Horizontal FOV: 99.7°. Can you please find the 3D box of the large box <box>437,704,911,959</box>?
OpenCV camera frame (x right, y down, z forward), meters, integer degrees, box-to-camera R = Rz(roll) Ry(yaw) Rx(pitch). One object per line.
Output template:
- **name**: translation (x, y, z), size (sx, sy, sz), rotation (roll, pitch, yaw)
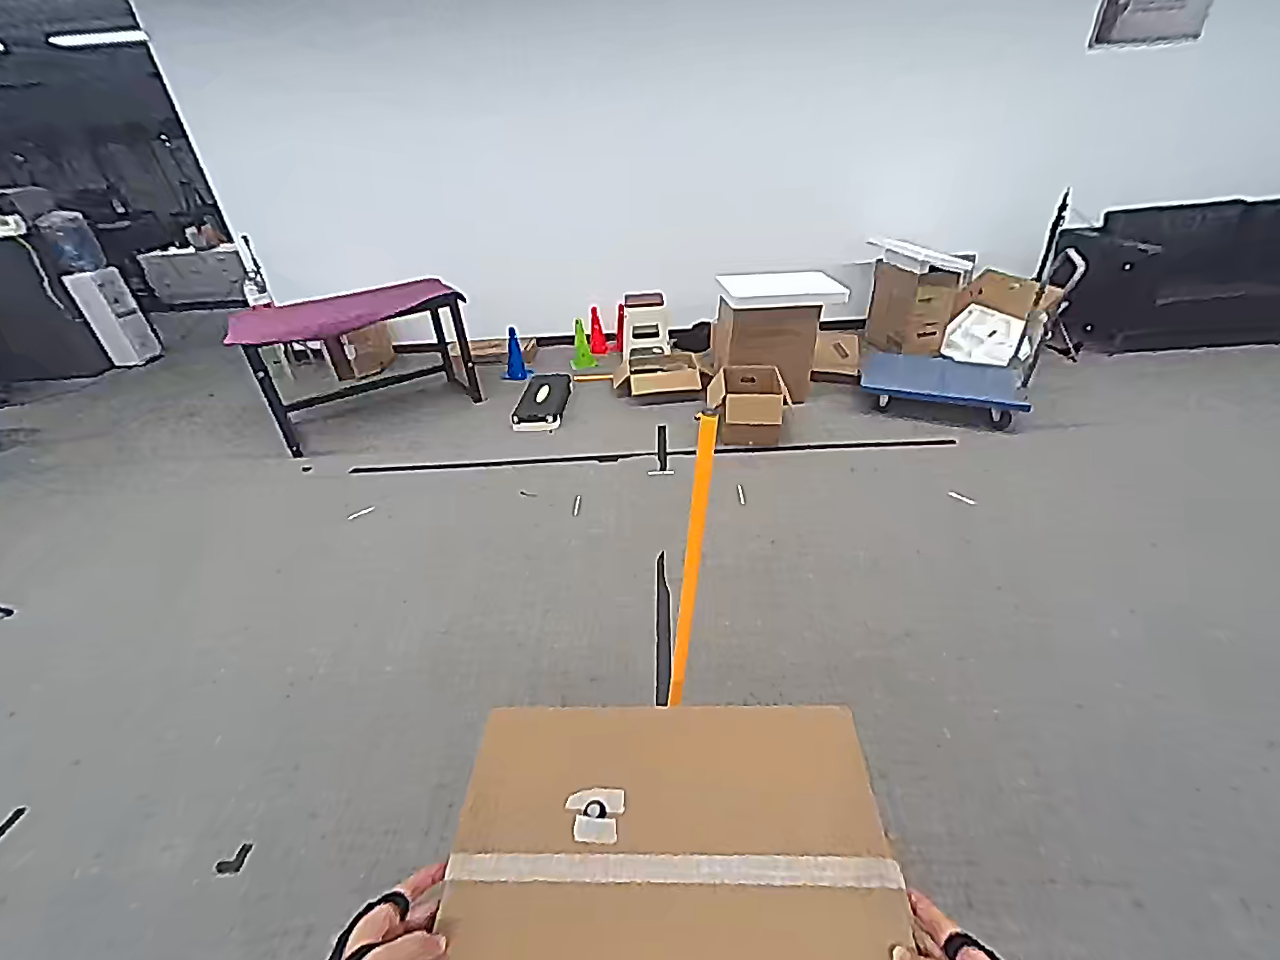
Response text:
- **large box**: translation (0.040, 0.475, 0.592), size (0.408, 0.320, 0.320), rotation (-4, 38, 5)
